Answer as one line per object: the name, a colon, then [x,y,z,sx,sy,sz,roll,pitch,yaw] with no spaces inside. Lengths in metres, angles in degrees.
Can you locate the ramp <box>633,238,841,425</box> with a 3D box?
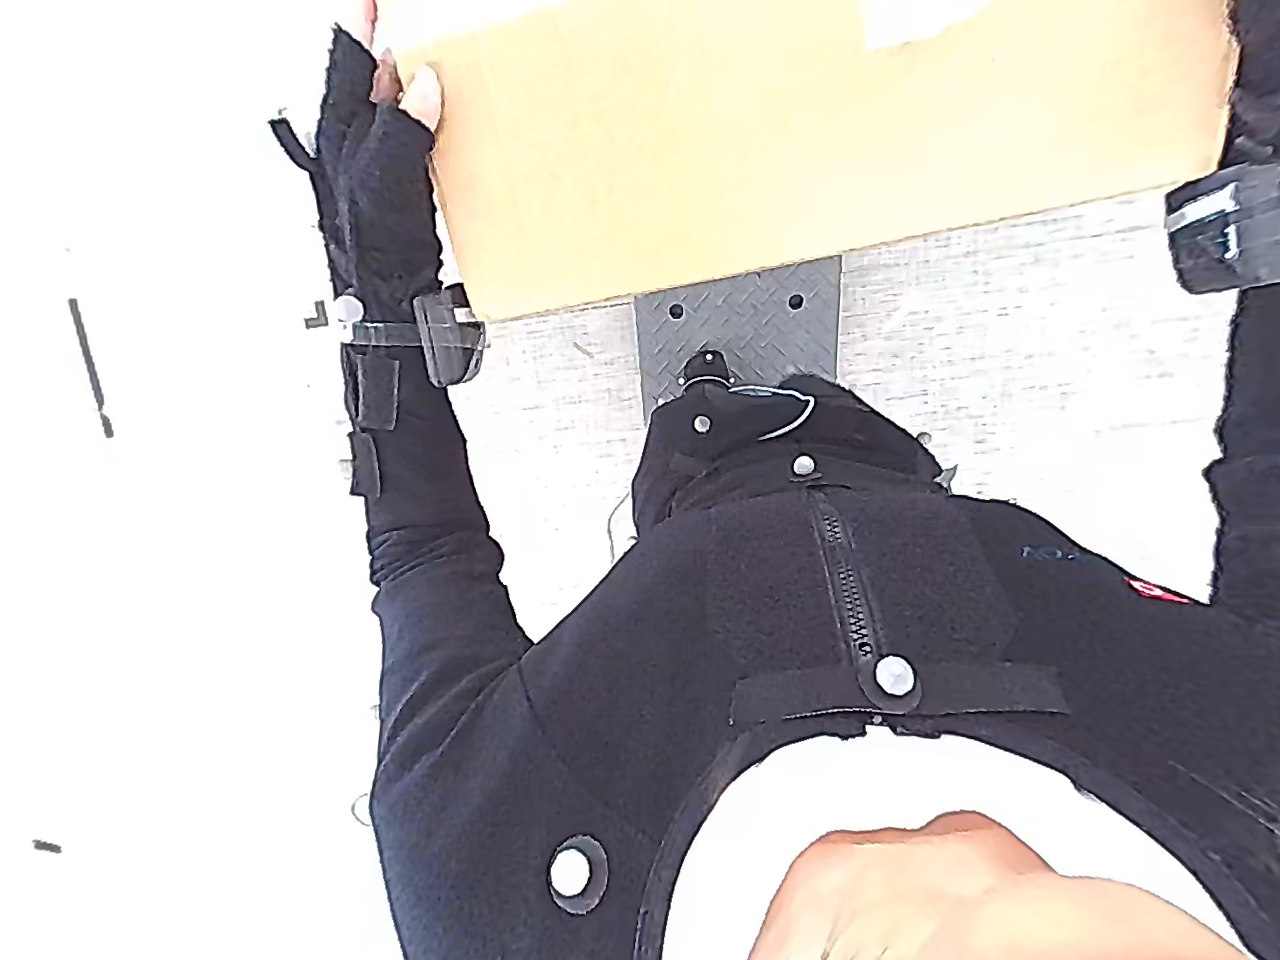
ramp: [0.212,-0.621,1.234,0.509,0.206,0.991,-5,102,6]

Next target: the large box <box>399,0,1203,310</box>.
large box: [0.077,-0.336,0.404,0.408,0.320,0.320,-8,112,10]
